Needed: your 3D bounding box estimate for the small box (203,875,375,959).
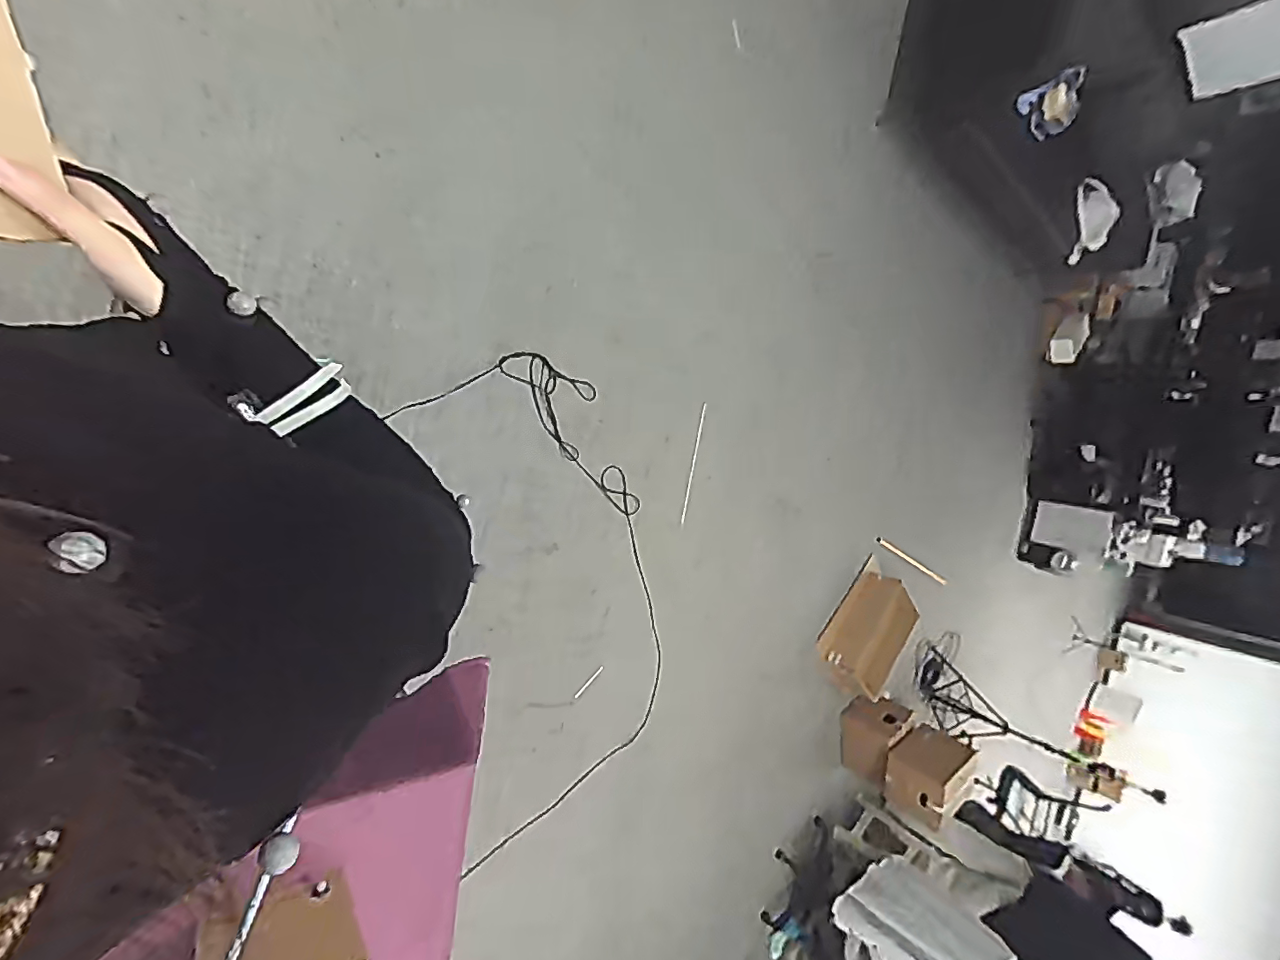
[{"bbox_3d":[-0.456,0.655,0.692,0.168,0.176,0.179,4,99,-39],"label":"small box"}]
